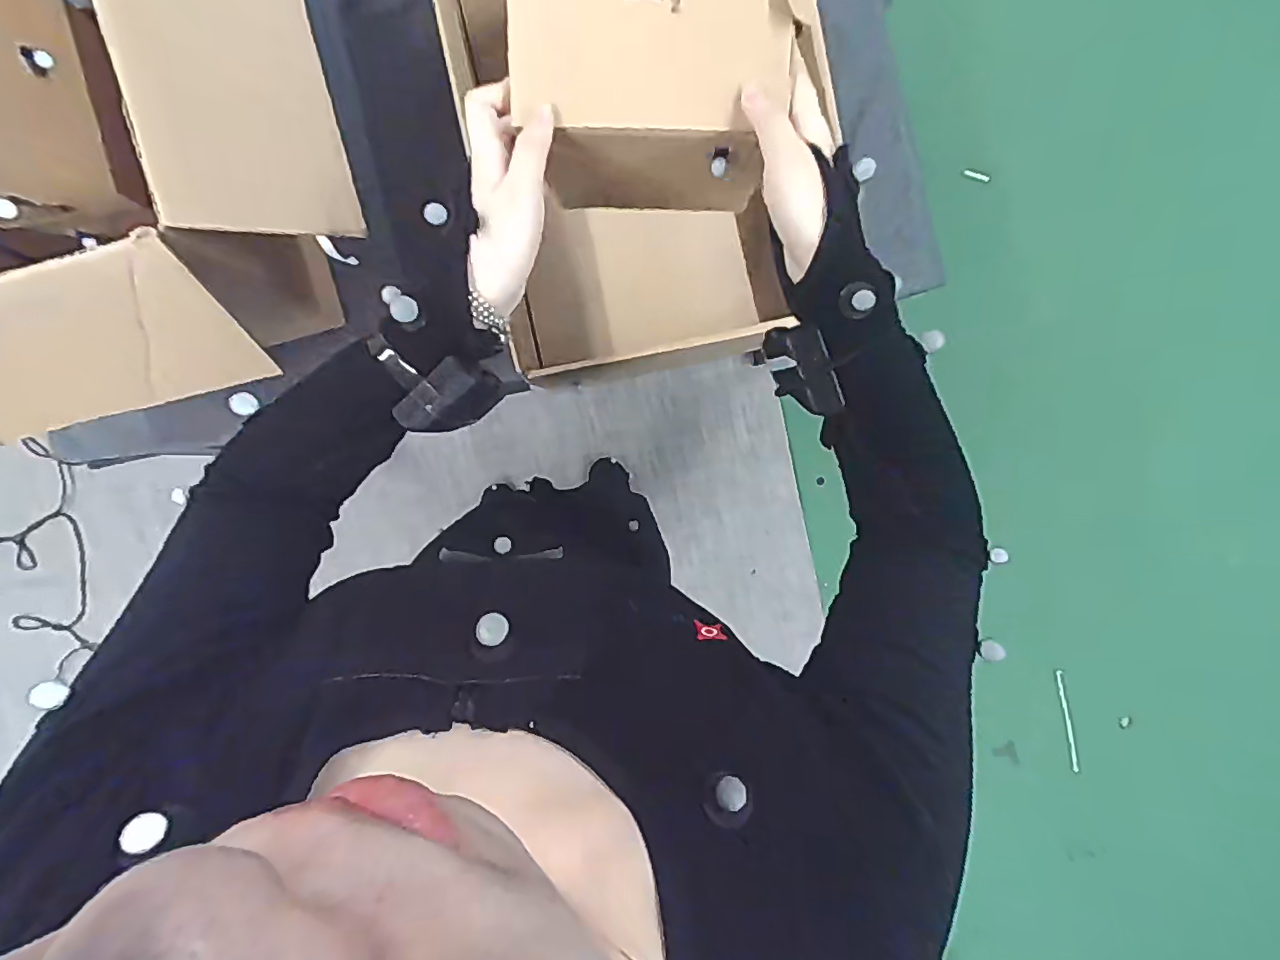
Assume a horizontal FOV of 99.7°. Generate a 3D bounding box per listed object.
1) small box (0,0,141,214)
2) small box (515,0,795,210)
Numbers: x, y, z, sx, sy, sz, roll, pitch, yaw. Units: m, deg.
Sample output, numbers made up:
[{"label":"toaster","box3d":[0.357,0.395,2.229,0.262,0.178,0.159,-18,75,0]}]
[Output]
[{"label":"small box","box3d":[-0.584,-0.352,0.453,0.168,0.176,0.179,-10,96,-4]},{"label":"small box","box3d":[0.009,-0.317,0.411,0.179,0.176,0.168,1,101,-1]}]
